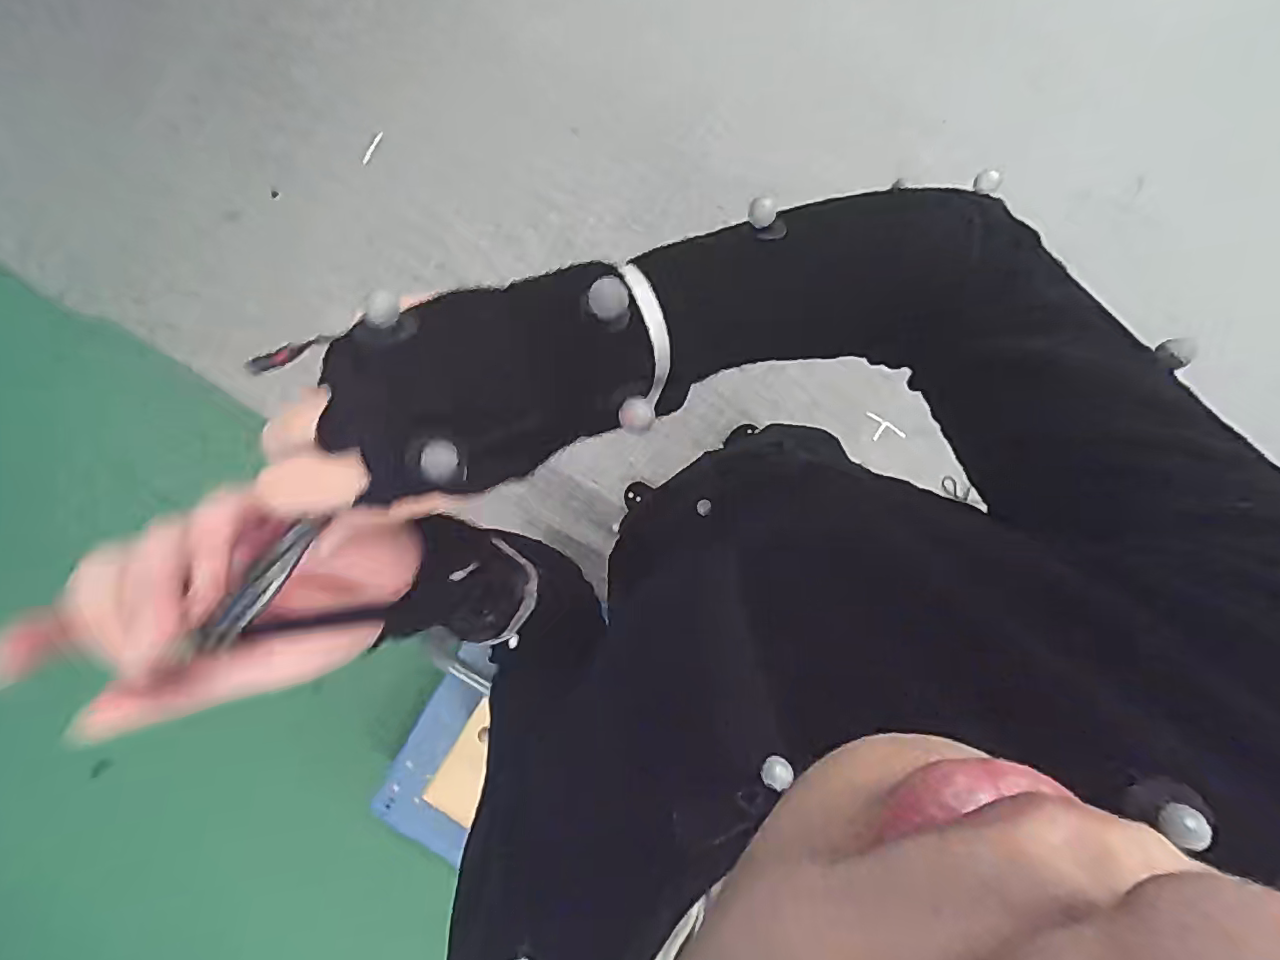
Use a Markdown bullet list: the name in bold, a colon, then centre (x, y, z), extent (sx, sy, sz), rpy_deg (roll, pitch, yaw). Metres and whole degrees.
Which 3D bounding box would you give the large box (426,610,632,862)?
- **large box**: centre (-0.249, 0.603, 1.345), extent (0.320, 0.320, 0.408), rpy_deg (32, 94, 1)
